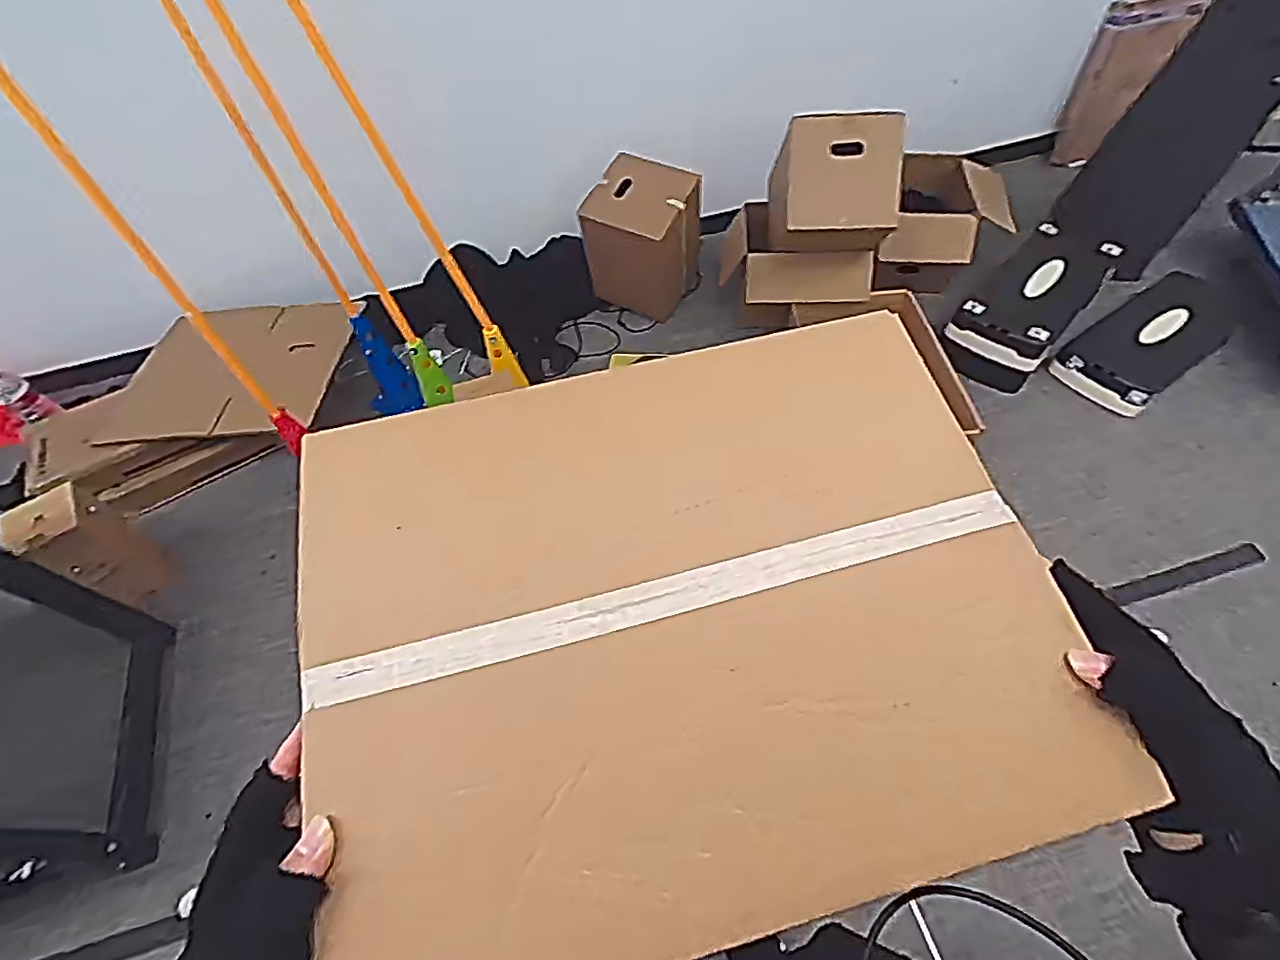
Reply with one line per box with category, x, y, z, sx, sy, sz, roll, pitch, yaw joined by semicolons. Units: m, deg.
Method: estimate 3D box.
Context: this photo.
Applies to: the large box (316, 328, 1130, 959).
large box;0.024;0.131;0.446;0.408;0.320;0.320;-14;66;-5
